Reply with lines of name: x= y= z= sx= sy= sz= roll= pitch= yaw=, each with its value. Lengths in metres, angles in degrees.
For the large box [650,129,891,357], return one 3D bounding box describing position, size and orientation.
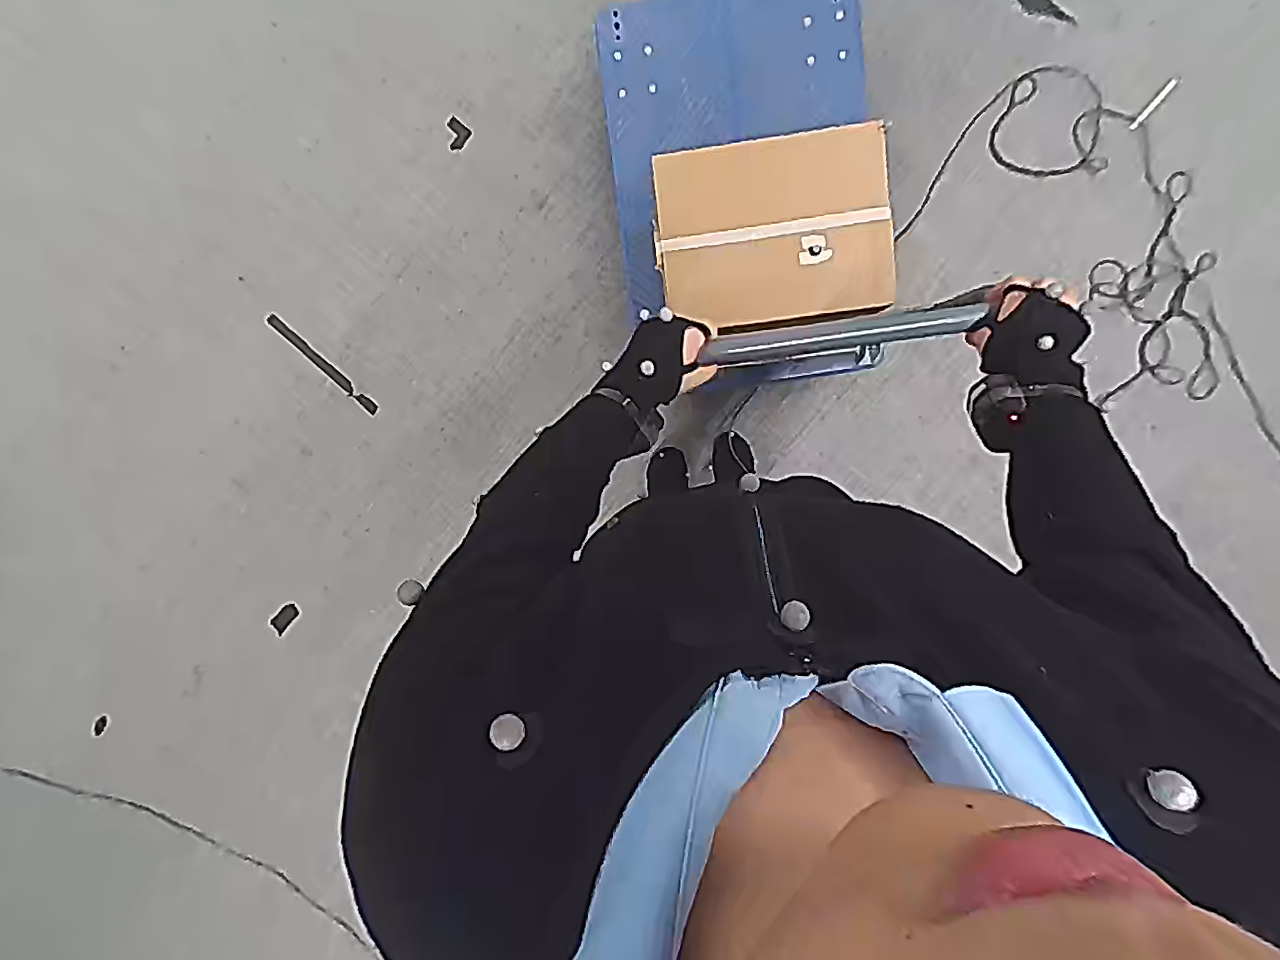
large box: x=0.241 y=-0.449 z=1.111 sx=0.408 sy=0.320 sz=0.320 roll=-7 pitch=97 yaw=4
